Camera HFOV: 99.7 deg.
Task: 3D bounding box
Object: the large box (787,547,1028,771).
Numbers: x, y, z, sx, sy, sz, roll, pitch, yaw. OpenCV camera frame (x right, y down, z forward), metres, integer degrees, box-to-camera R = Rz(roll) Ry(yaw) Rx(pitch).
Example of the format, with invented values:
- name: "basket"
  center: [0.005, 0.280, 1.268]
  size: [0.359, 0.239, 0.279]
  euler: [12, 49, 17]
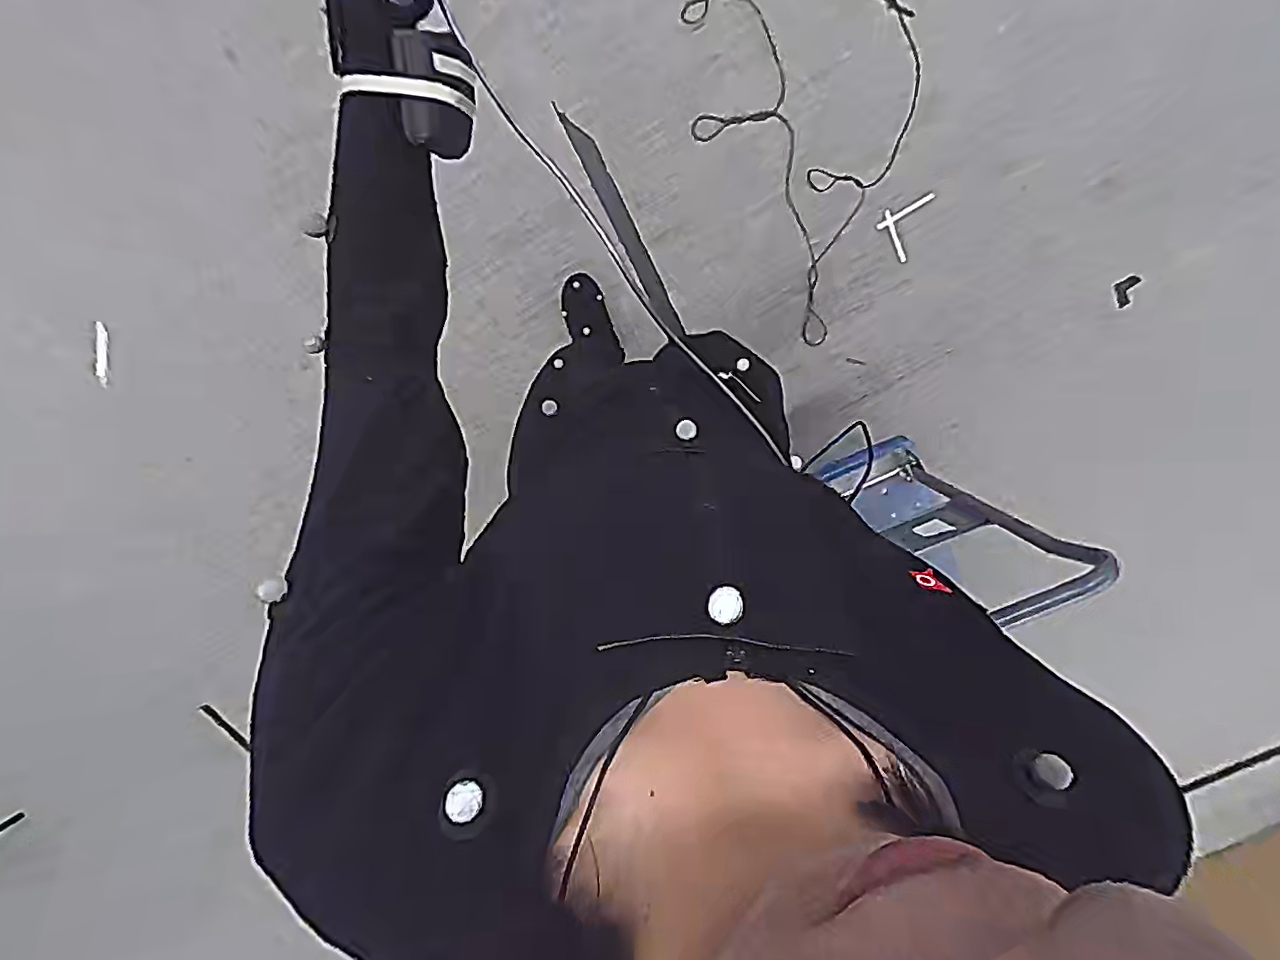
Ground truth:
- name: "large box"
  center: [0.660, 0.444, 1.390]
  size: [0.408, 0.320, 0.320]
  euler: [-32, 106, 9]
